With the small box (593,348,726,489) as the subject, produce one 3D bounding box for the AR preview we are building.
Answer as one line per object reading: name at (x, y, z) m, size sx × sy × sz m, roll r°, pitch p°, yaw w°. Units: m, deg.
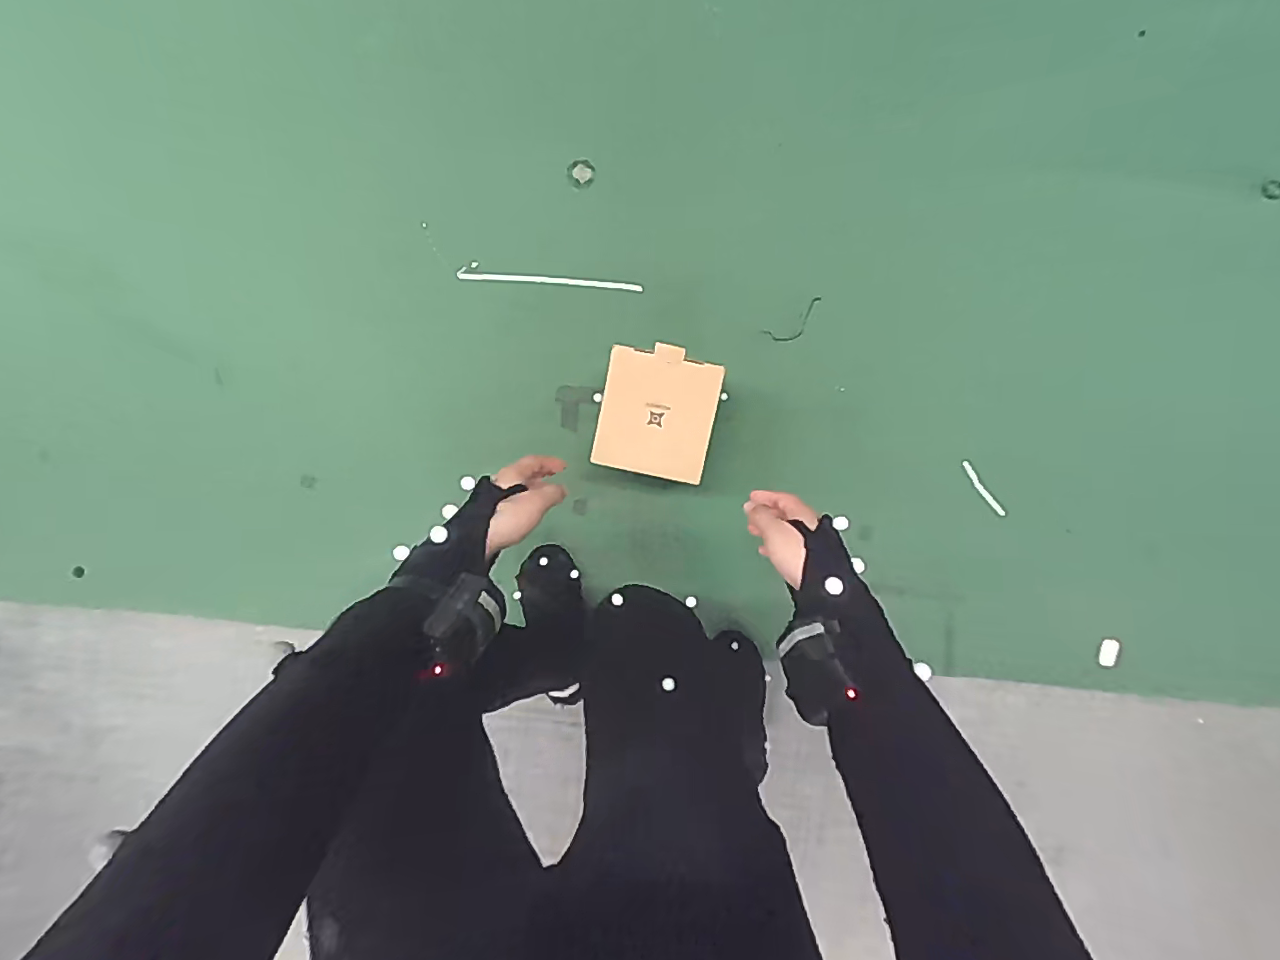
small box at (0.030, -0.096, 0.856) m, size 0.168 × 0.176 × 0.179 m, roll 12°, pitch 96°, yaw 0°
